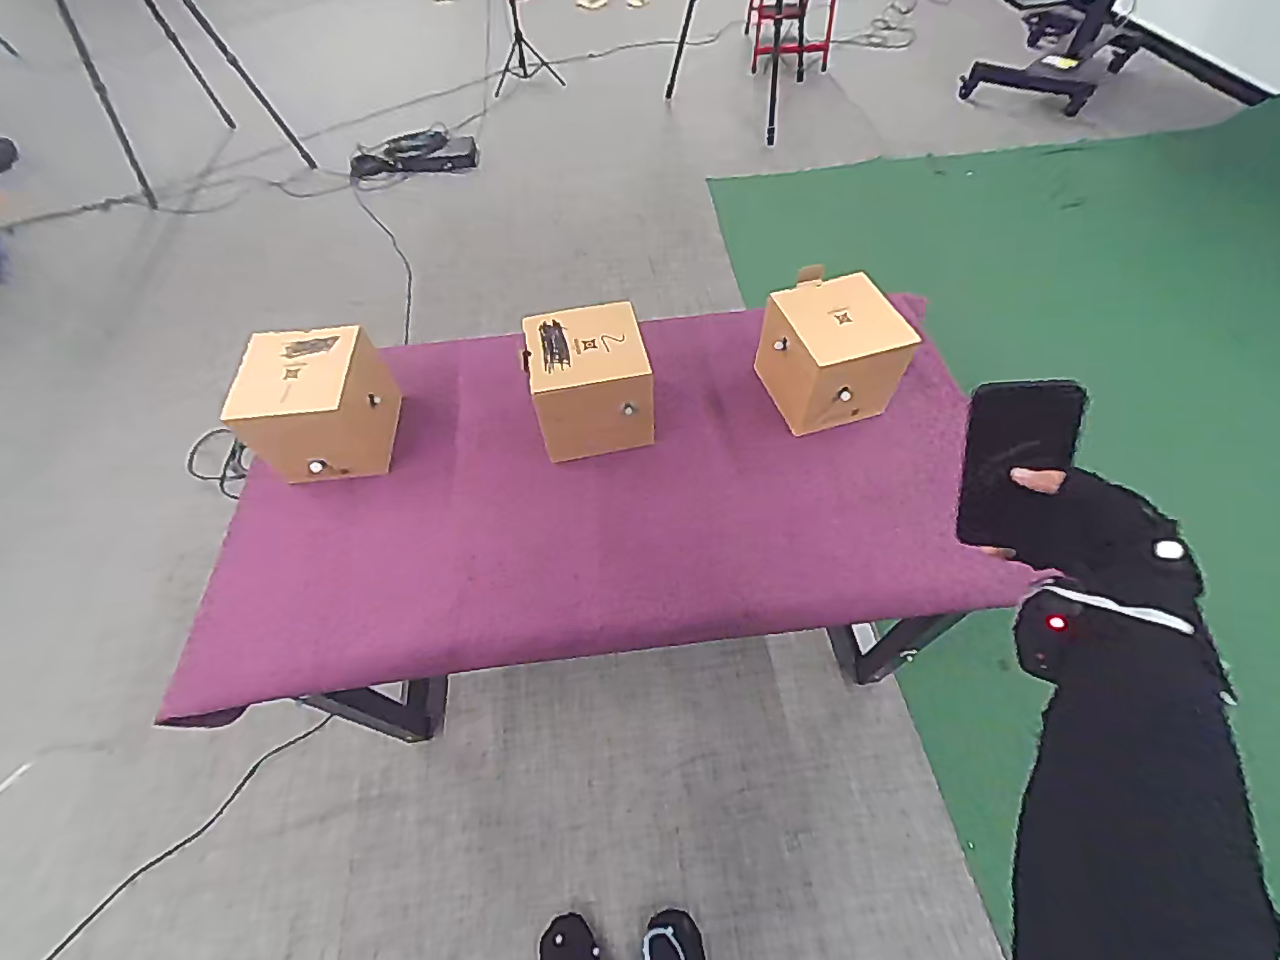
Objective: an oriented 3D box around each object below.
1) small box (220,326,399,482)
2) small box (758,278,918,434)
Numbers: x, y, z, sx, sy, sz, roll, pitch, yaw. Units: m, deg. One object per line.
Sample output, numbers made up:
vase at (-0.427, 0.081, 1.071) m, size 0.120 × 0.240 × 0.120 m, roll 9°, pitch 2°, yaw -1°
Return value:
small box at (-0.502, -0.117, 0.856) m, size 0.168 × 0.176 × 0.179 m, roll -5°, pitch 58°, yaw -2°
small box at (0.308, -0.194, 0.884) m, size 0.168 × 0.176 × 0.179 m, roll -15°, pitch 56°, yaw -7°
